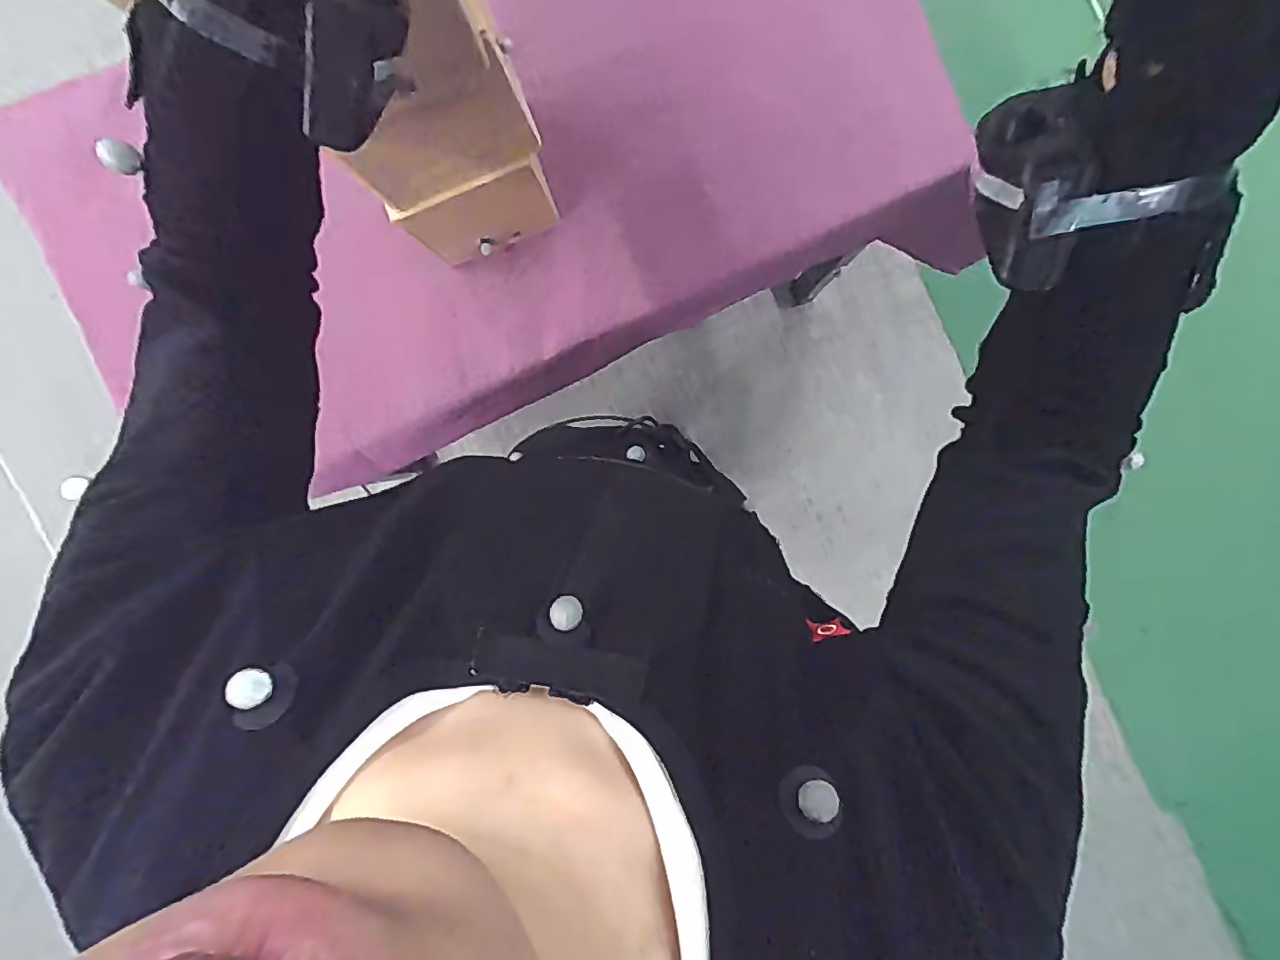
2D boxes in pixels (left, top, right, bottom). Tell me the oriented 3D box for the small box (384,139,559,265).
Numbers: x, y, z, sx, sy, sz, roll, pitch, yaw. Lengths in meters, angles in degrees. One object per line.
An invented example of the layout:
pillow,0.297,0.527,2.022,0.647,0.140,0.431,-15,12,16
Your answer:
small box,-0.213,-0.389,0.645,0.168,0.176,0.179,-20,93,5

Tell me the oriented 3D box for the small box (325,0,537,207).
small box,-0.216,-0.381,0.484,0.179,0.176,0.168,-22,93,4

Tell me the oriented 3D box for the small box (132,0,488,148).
small box,-0.215,-0.349,0.321,0.168,0.176,0.179,-19,92,5
